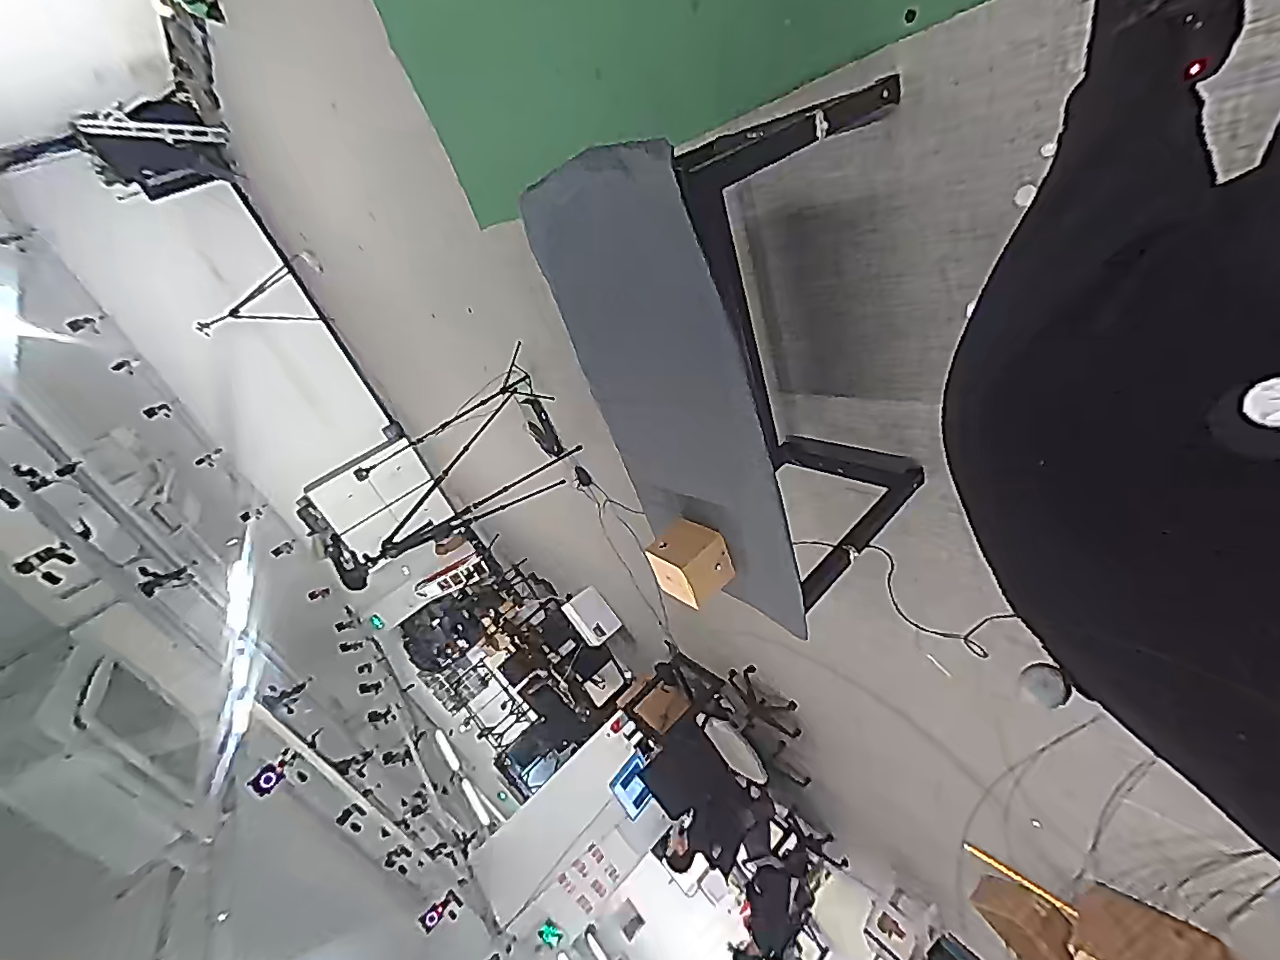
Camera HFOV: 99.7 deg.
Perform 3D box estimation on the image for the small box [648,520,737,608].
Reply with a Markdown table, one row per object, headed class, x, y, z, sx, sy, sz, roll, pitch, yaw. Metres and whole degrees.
| class | x | y | z | sx | sy | sz | roll | pitch | yaw |
| --- | --- | --- | --- | --- | --- | --- | --- | --- | --- |
| small box | 0.160 | 0.240 | 1.610 | 0.179 | 0.176 | 0.168 | 19 | 139 | 51 |
